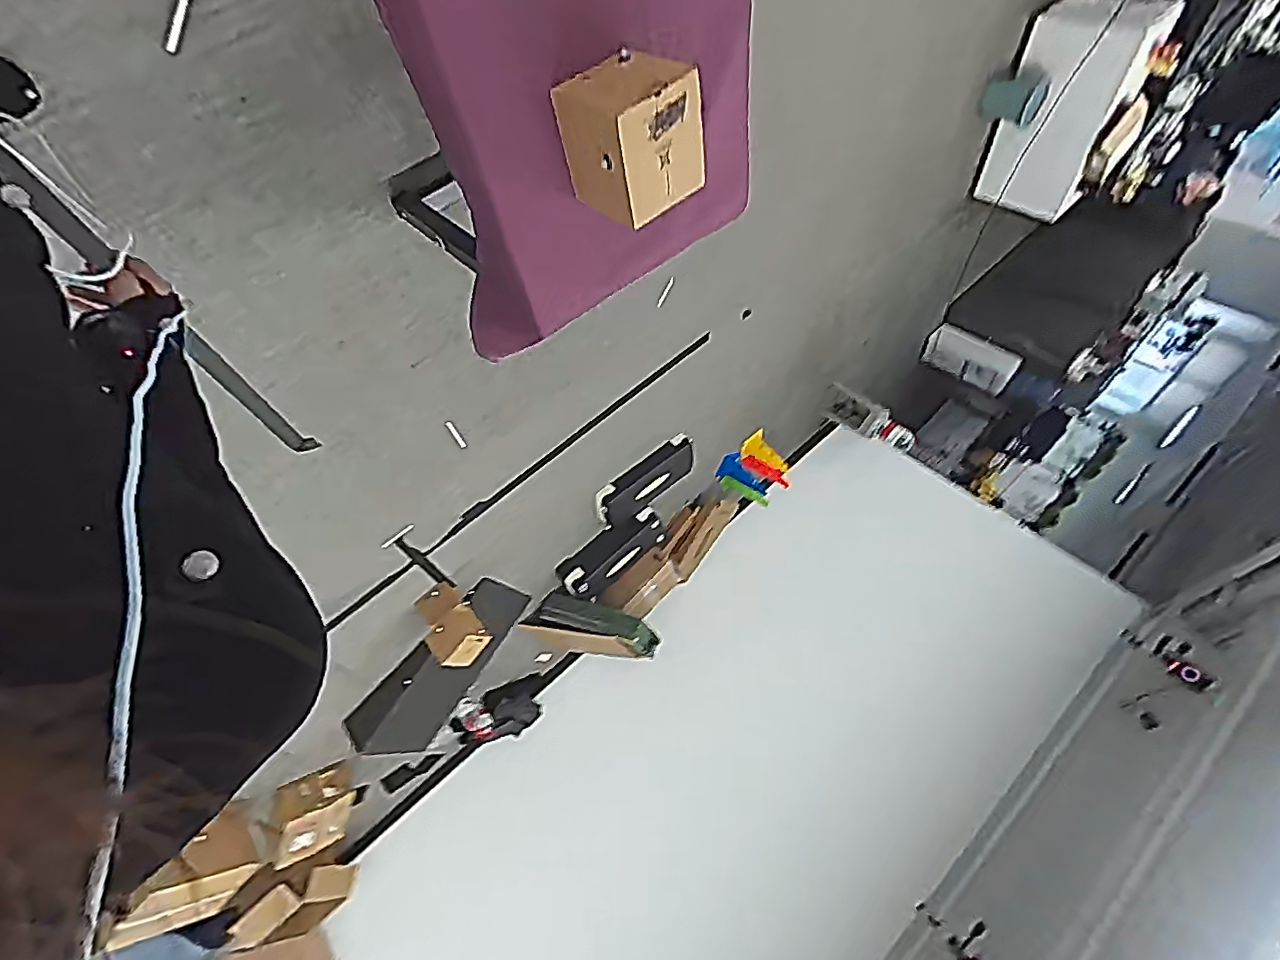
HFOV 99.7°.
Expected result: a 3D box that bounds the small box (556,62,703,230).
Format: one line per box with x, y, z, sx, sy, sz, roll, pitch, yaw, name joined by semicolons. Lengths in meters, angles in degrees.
-0.015;-0.554;0.889;0.168;0.176;0.179;-39;149;-16;small box
